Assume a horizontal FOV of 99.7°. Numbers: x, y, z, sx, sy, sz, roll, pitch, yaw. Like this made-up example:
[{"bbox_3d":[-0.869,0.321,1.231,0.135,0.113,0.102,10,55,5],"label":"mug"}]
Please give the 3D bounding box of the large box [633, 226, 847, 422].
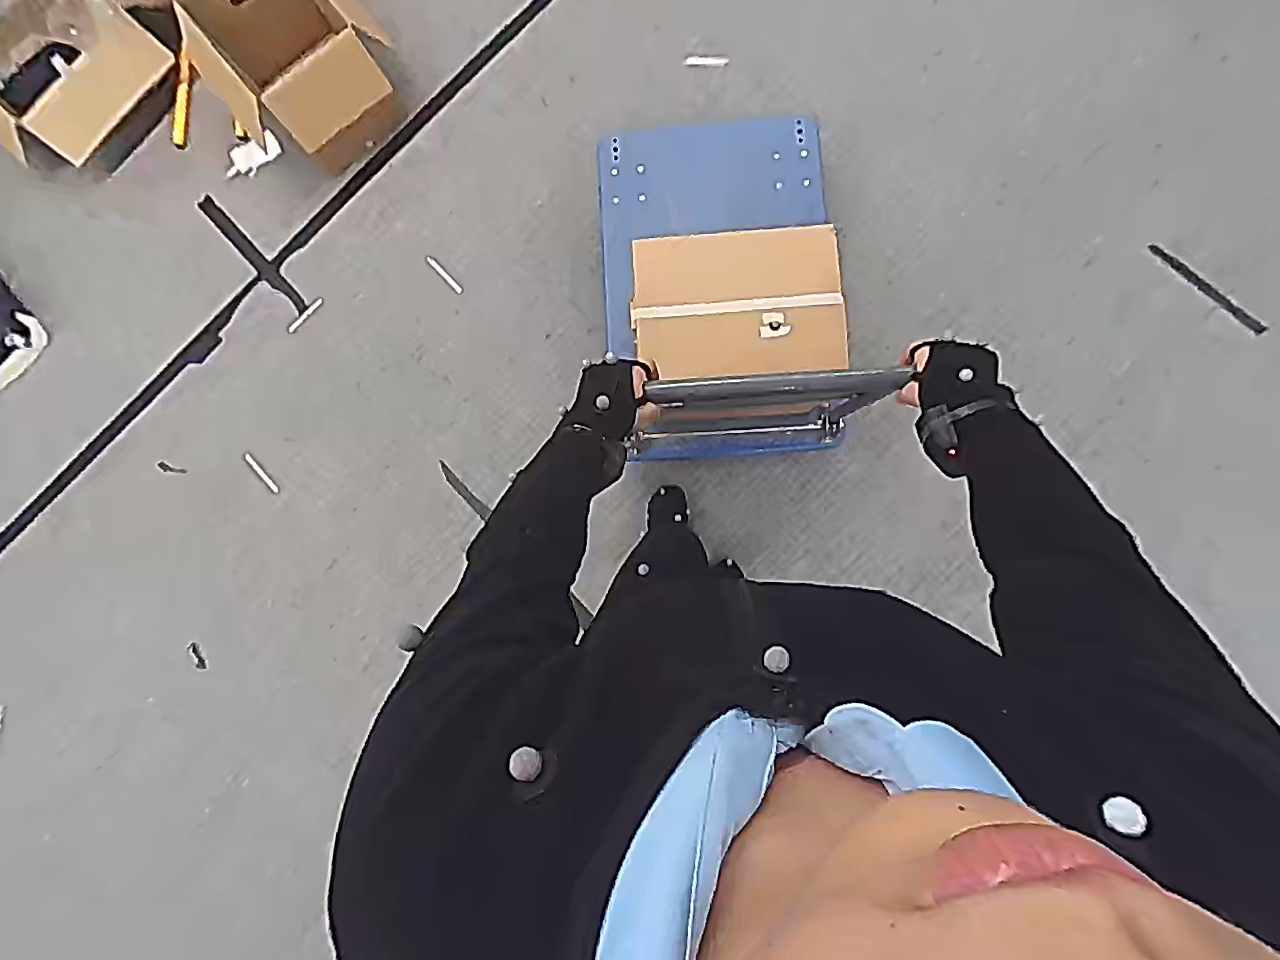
[{"bbox_3d":[0.199,-0.324,1.214,0.408,0.320,0.320,-4,85,2],"label":"large box"}]
